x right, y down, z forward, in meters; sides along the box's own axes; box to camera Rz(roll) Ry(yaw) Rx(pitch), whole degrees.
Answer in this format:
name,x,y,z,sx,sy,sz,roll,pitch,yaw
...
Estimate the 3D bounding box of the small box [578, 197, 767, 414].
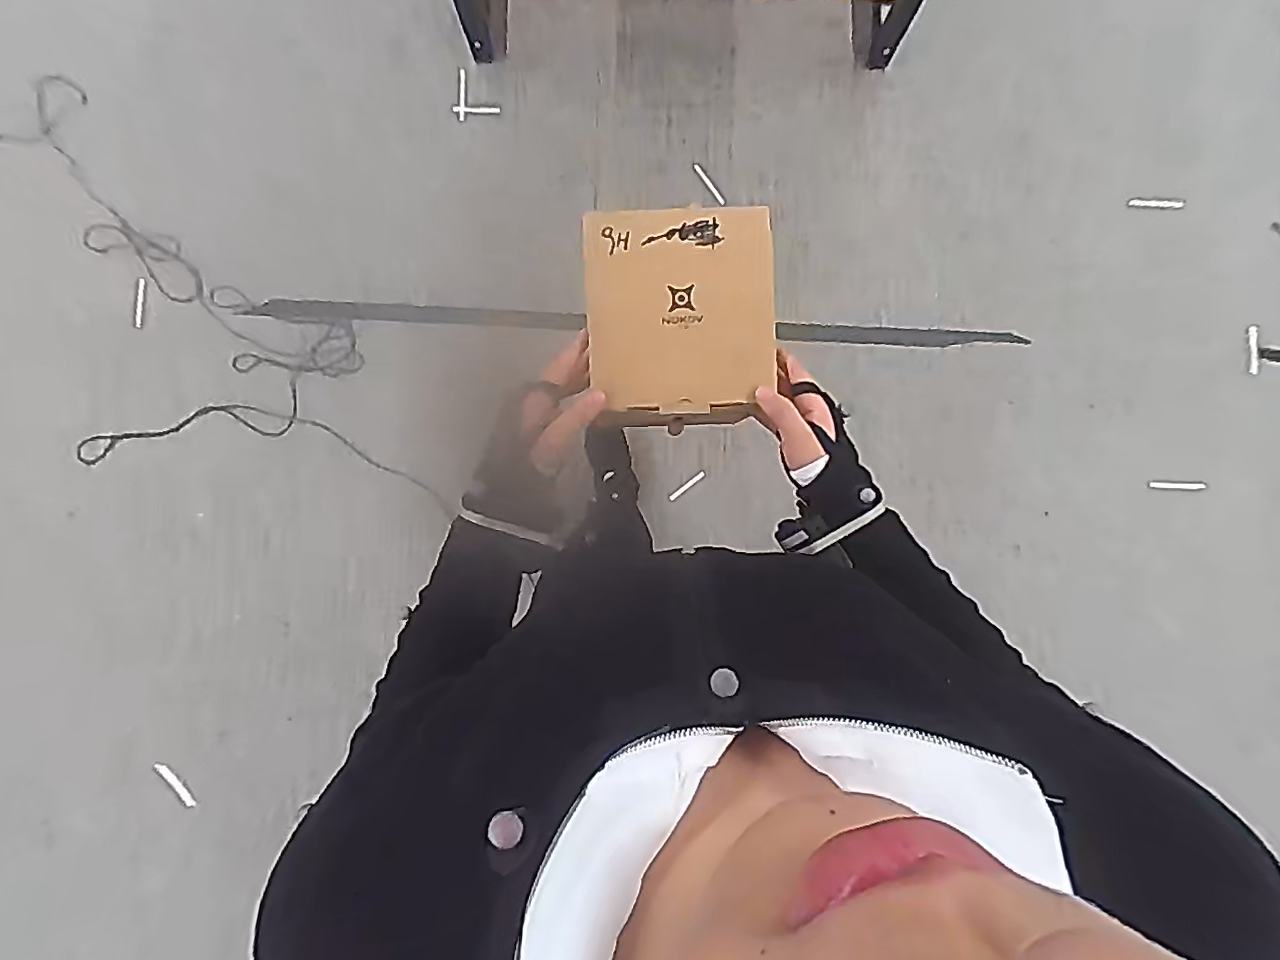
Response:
name,x,y,z,sx,sy,sz,roll,pitch,yaw
small box,0.029,-0.161,0.556,0.168,0.176,0.179,-3,91,-1
